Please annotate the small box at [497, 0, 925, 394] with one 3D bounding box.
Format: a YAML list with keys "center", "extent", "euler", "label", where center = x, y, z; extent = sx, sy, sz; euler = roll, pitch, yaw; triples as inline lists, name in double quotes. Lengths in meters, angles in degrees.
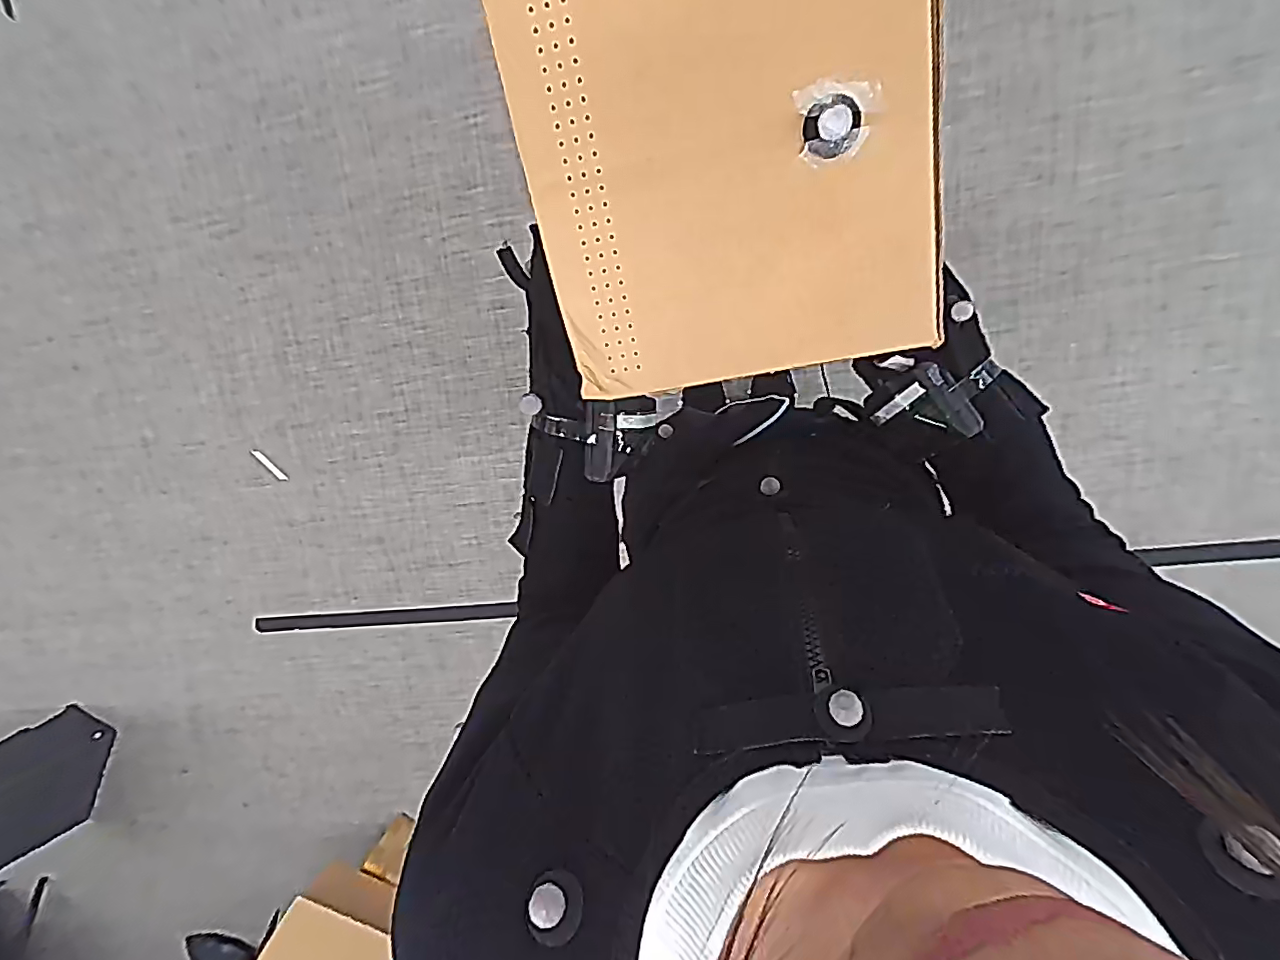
- center: [0.040, -0.162, 0.305]
  extent: [0.176, 0.168, 0.179]
  euler: [-8, 112, 12]
  label: "small box"
